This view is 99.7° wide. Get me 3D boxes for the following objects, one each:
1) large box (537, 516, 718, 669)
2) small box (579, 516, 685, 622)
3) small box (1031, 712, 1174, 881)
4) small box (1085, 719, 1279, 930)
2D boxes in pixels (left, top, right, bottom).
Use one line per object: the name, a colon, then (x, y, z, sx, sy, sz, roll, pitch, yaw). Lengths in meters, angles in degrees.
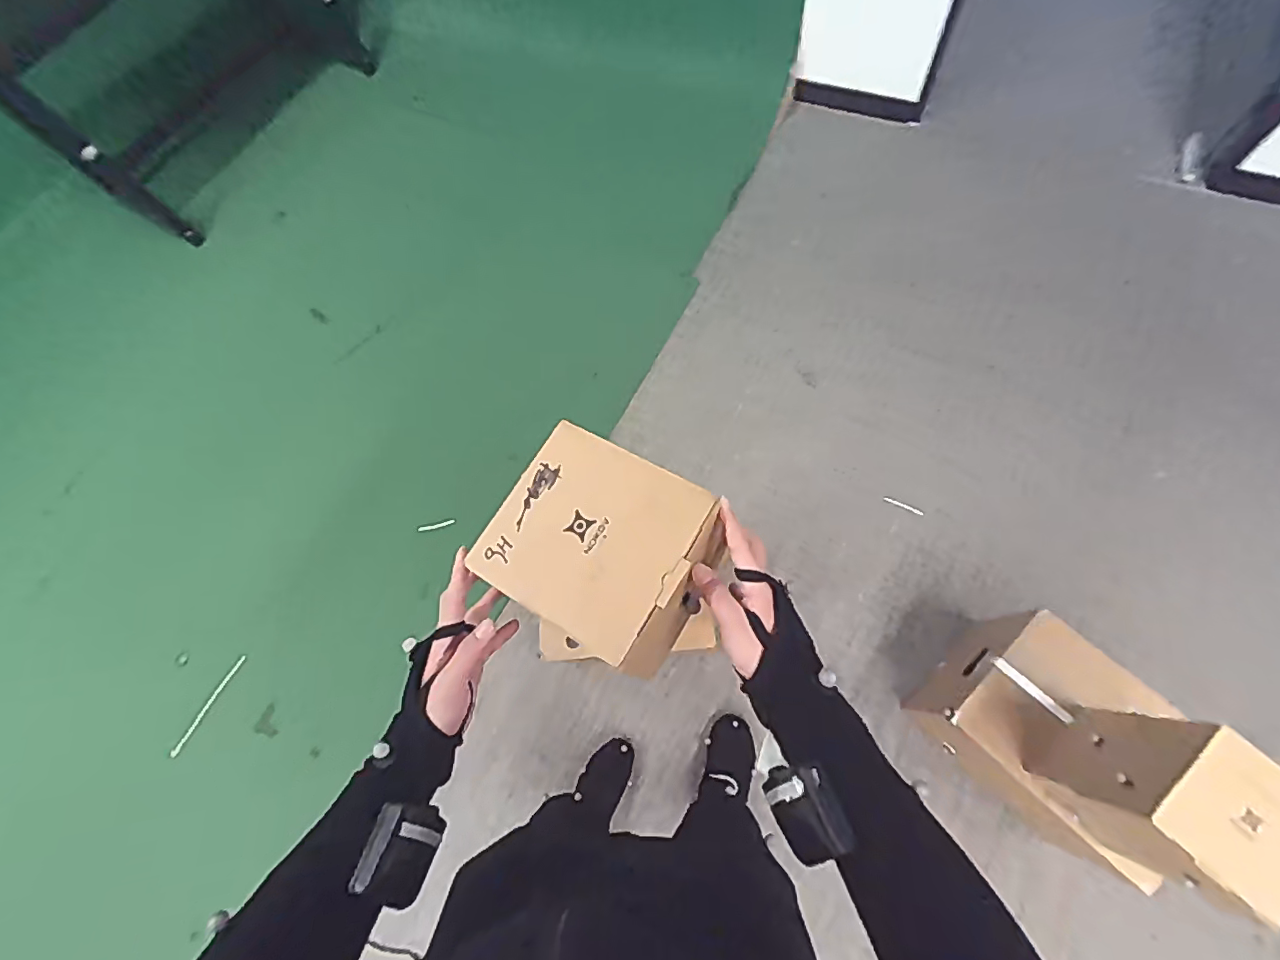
large box: (-0.021, 0.307, 1.395, 0.408, 0.320, 0.320, -8, 68, 6)
small box: (-0.007, 0.169, 1.001, 0.179, 0.176, 0.168, -3, 69, 7)
small box: (0.828, 0.523, 0.927, 0.179, 0.176, 0.168, -42, 70, -6)
small box: (0.798, 0.471, 0.775, 0.179, 0.176, 0.168, -43, 70, -8)
